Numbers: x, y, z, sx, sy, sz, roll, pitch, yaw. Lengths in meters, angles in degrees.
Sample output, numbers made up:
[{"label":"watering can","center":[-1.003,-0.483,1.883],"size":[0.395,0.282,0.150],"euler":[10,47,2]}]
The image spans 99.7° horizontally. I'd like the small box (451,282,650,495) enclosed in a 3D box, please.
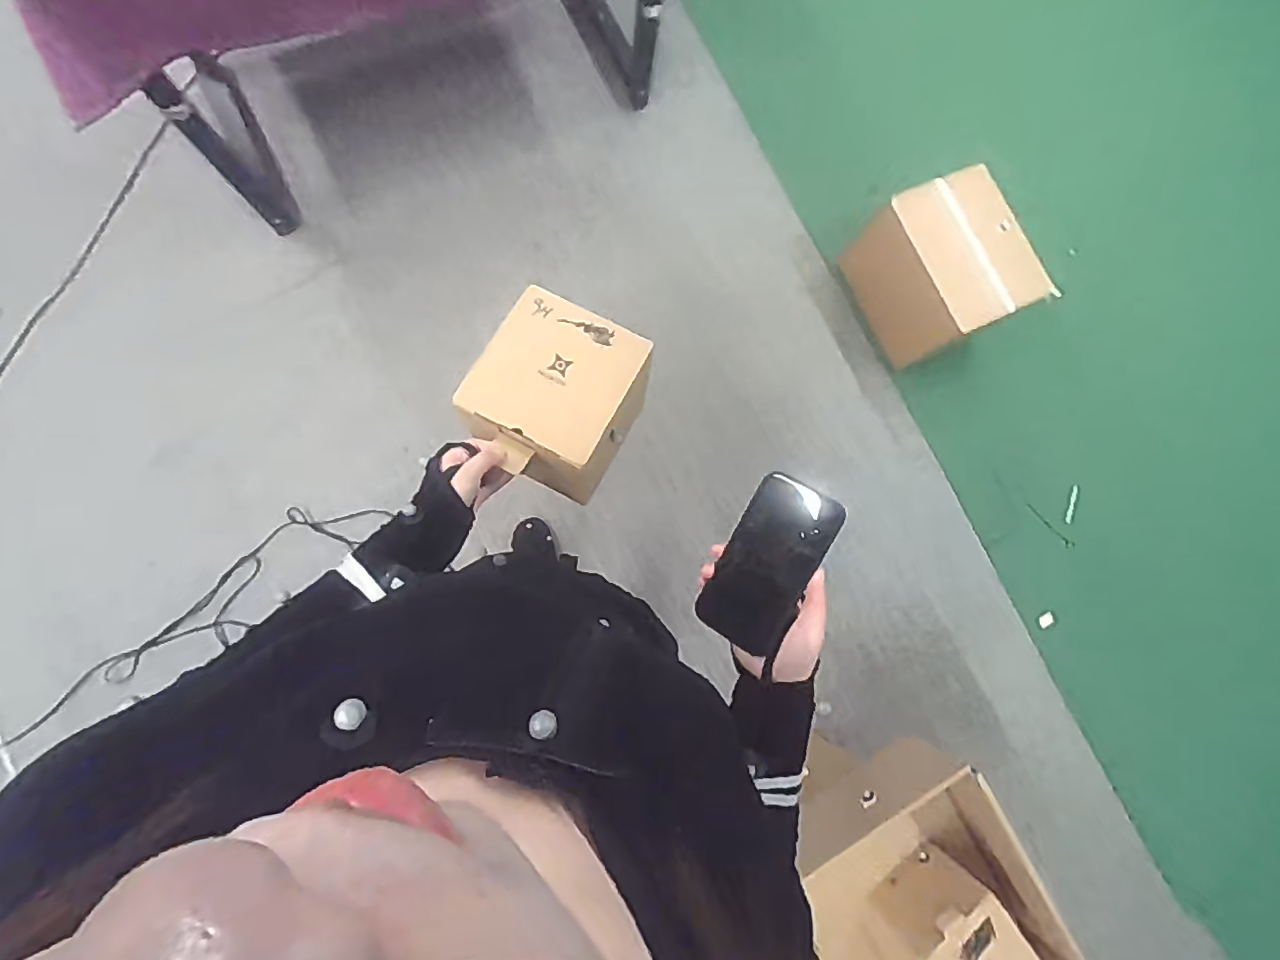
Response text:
[{"label":"small box","center":[-0.101,-0.101,0.679],"size":[0.168,0.176,0.179],"euler":[27,74,4]}]
